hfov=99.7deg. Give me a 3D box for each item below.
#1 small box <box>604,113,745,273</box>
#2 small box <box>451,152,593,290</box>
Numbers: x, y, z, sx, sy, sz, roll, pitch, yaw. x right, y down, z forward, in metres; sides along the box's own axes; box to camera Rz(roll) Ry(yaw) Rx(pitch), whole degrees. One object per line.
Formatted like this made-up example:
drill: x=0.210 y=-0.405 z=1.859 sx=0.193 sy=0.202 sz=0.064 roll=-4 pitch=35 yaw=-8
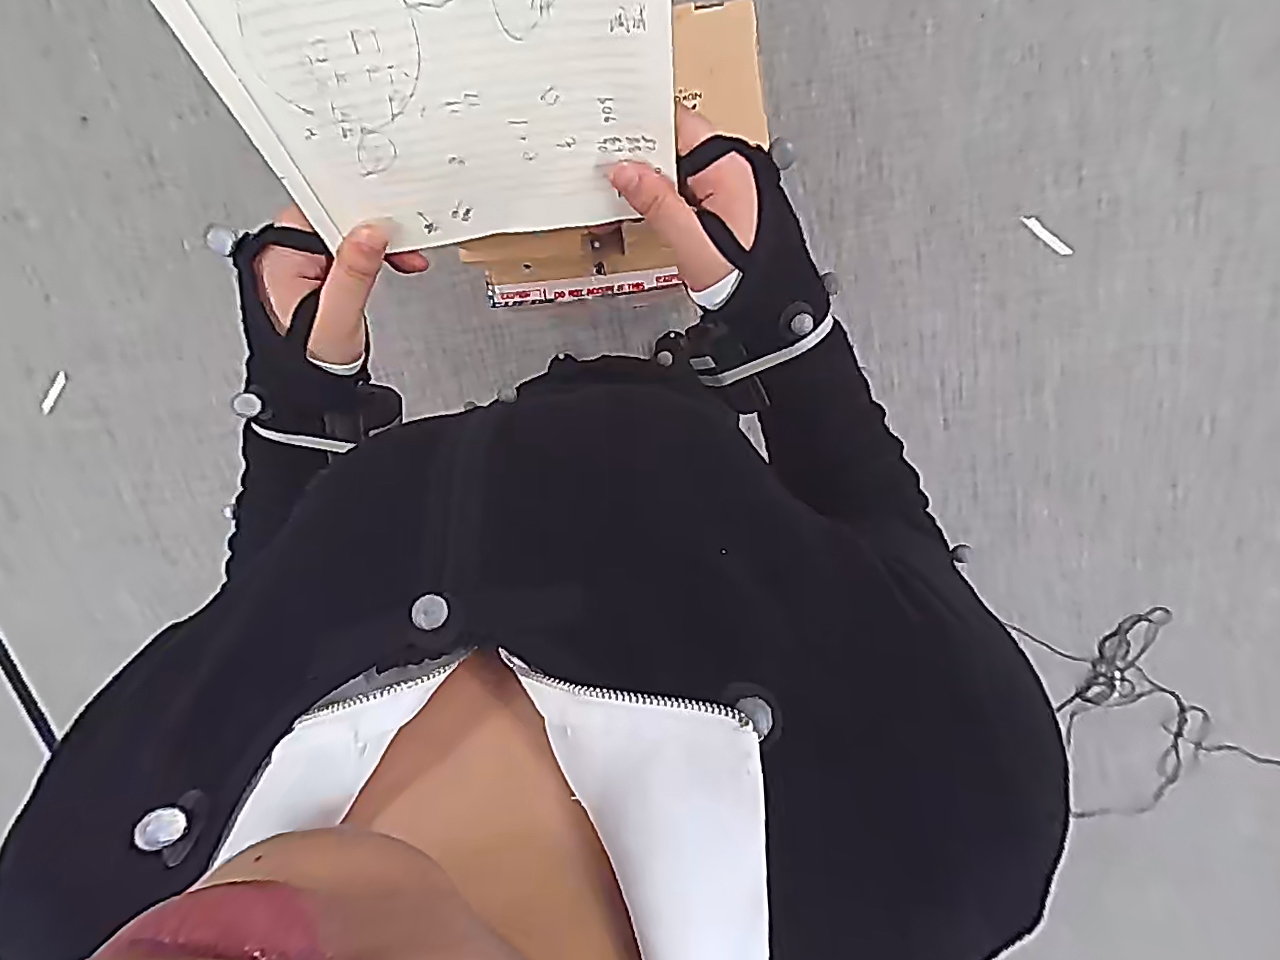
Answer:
small box: x=0.046 y=-0.423 z=0.825 sx=0.179 sy=0.176 sz=0.168 roll=-12 pitch=105 yaw=2
small box: x=-0.167 y=-0.387 z=0.833 sx=0.179 sy=0.176 sz=0.168 roll=-3 pitch=106 yaw=2
